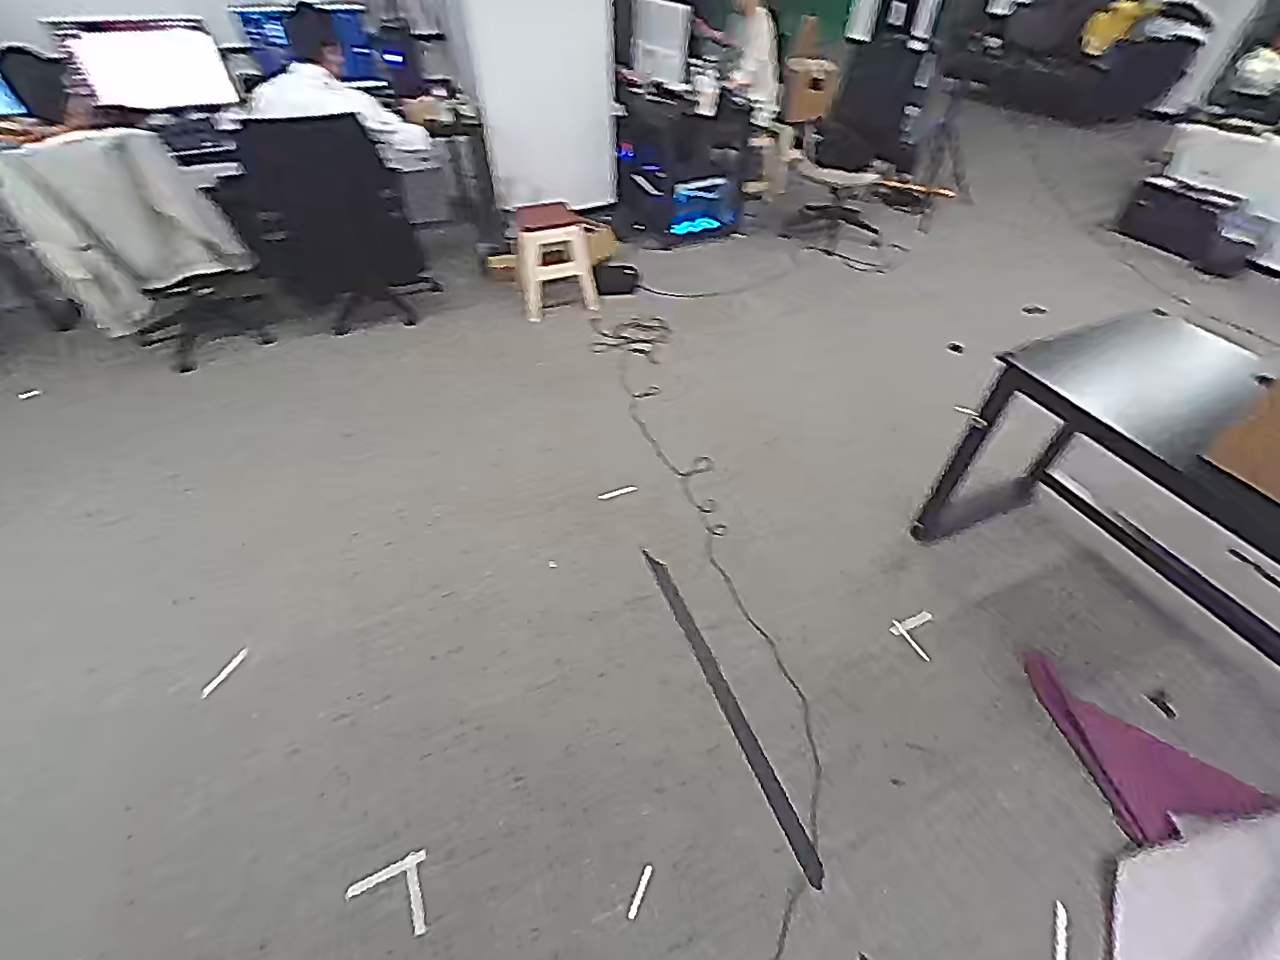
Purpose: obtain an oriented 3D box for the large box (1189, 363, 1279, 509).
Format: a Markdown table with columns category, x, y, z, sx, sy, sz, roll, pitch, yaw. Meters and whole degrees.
| category | x | y | z | sx | sy | sz | roll | pitch | yaw |
| --- | --- | --- | --- | --- | --- | --- | --- | --- | --- |
| large box | 1.381 | -0.074 | 0.968 | 0.320 | 0.320 | 0.408 | -19 | 50 | -17 |
